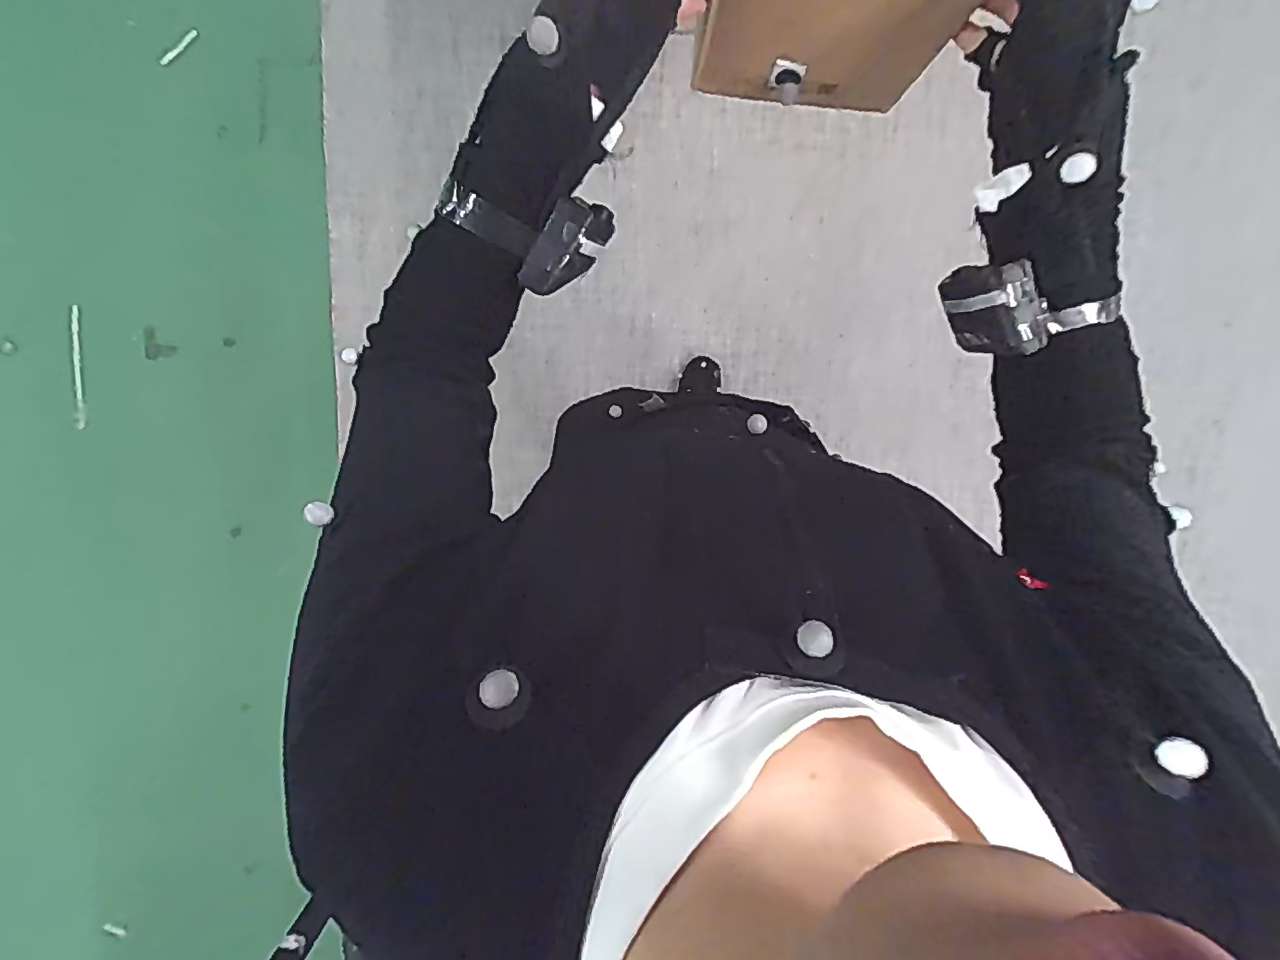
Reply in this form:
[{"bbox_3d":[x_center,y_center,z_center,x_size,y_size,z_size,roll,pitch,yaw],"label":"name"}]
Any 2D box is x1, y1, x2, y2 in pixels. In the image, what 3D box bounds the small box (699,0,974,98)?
[{"bbox_3d":[0.134,-0.391,0.345,0.168,0.176,0.179,4,97,-2],"label":"small box"}]
